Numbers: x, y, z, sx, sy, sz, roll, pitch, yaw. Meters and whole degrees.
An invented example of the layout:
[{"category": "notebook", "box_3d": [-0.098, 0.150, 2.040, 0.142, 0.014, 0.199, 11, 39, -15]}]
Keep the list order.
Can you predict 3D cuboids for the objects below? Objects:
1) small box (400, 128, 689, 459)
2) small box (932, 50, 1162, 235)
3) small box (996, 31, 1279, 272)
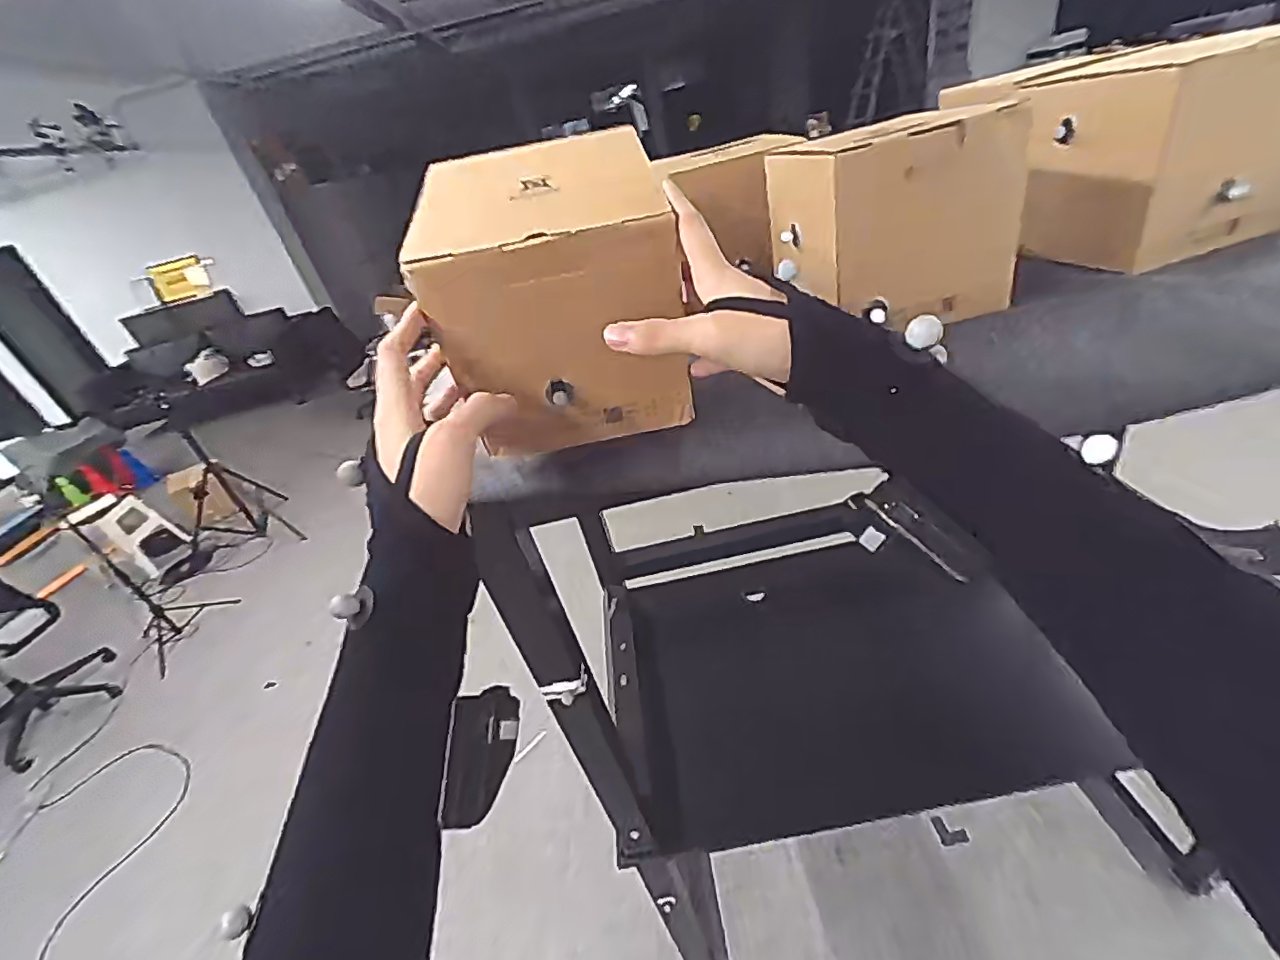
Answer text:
[{"category": "small box", "box_3d": [-0.060, -0.144, 0.423, 0.168, 0.176, 0.179, -12, 49, -1]}, {"category": "small box", "box_3d": [0.523, -0.447, 0.728, 0.179, 0.176, 0.168, -12, 32, 3]}, {"category": "small box", "box_3d": [0.502, -0.323, 0.547, 0.168, 0.176, 0.179, -18, 33, -5]}]
